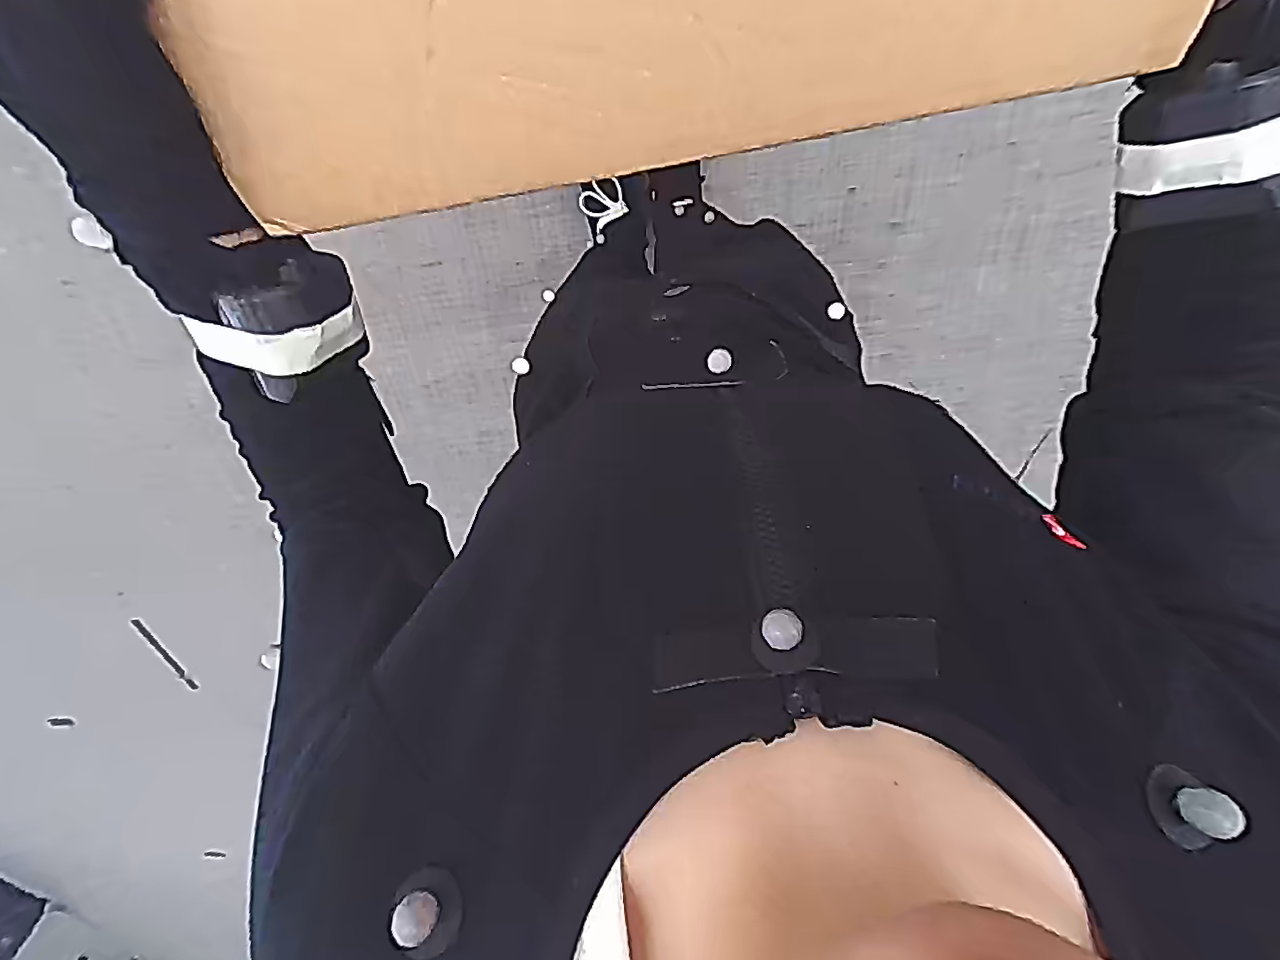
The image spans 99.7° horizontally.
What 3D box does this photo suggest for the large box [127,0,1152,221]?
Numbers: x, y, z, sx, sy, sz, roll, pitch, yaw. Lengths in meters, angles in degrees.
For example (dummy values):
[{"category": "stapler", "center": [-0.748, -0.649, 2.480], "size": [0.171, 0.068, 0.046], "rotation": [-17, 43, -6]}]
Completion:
[{"category": "large box", "center": [-0.013, -0.365, 0.228], "size": [0.408, 0.320, 0.320], "rotation": [-9, 139, 2]}]
